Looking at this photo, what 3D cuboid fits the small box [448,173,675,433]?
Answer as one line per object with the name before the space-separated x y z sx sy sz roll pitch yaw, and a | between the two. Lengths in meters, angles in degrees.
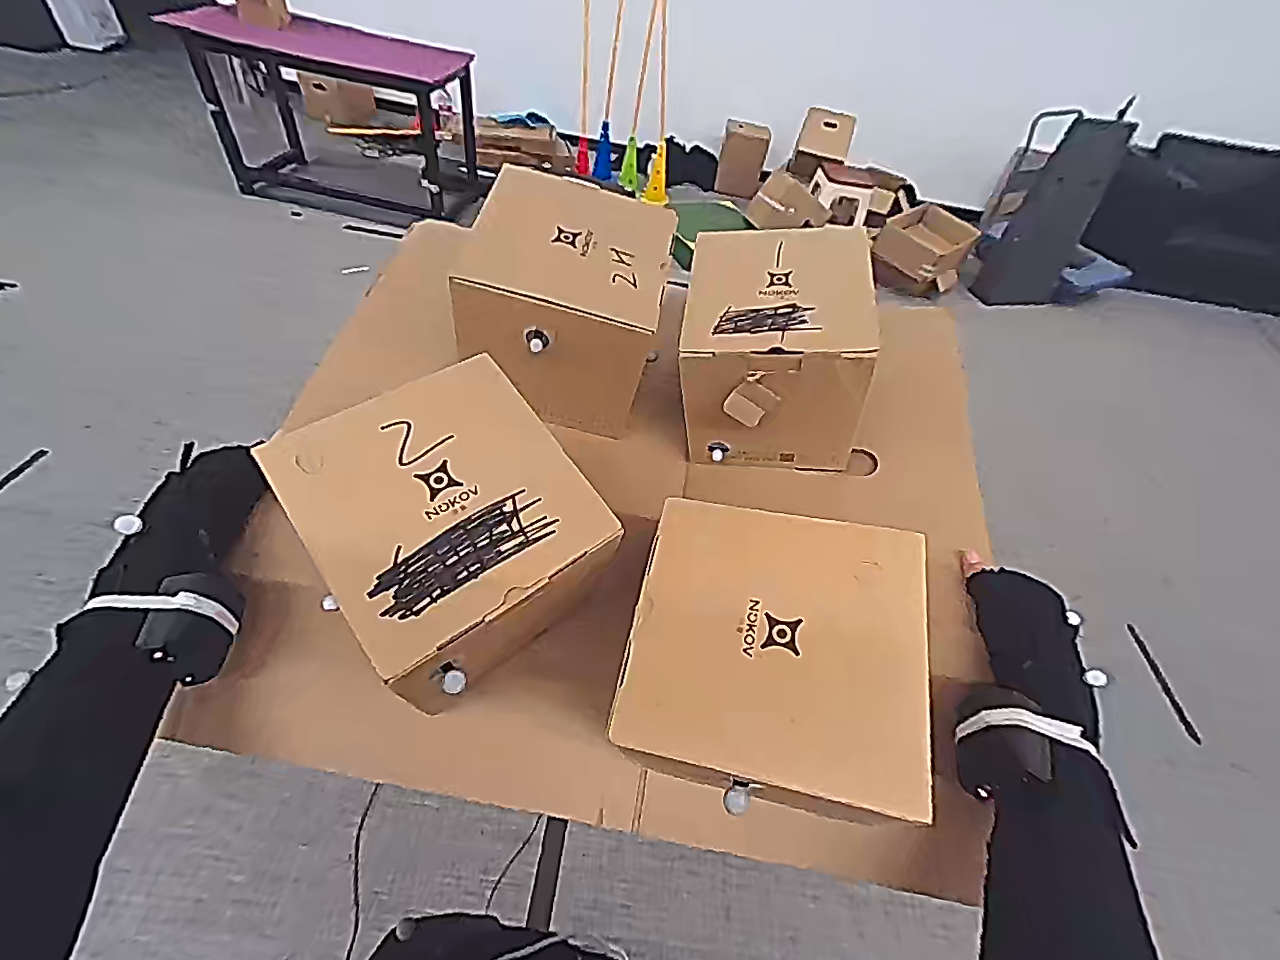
small box | -0.078 -0.170 0.556 0.179 0.176 0.168 14 60 -6
